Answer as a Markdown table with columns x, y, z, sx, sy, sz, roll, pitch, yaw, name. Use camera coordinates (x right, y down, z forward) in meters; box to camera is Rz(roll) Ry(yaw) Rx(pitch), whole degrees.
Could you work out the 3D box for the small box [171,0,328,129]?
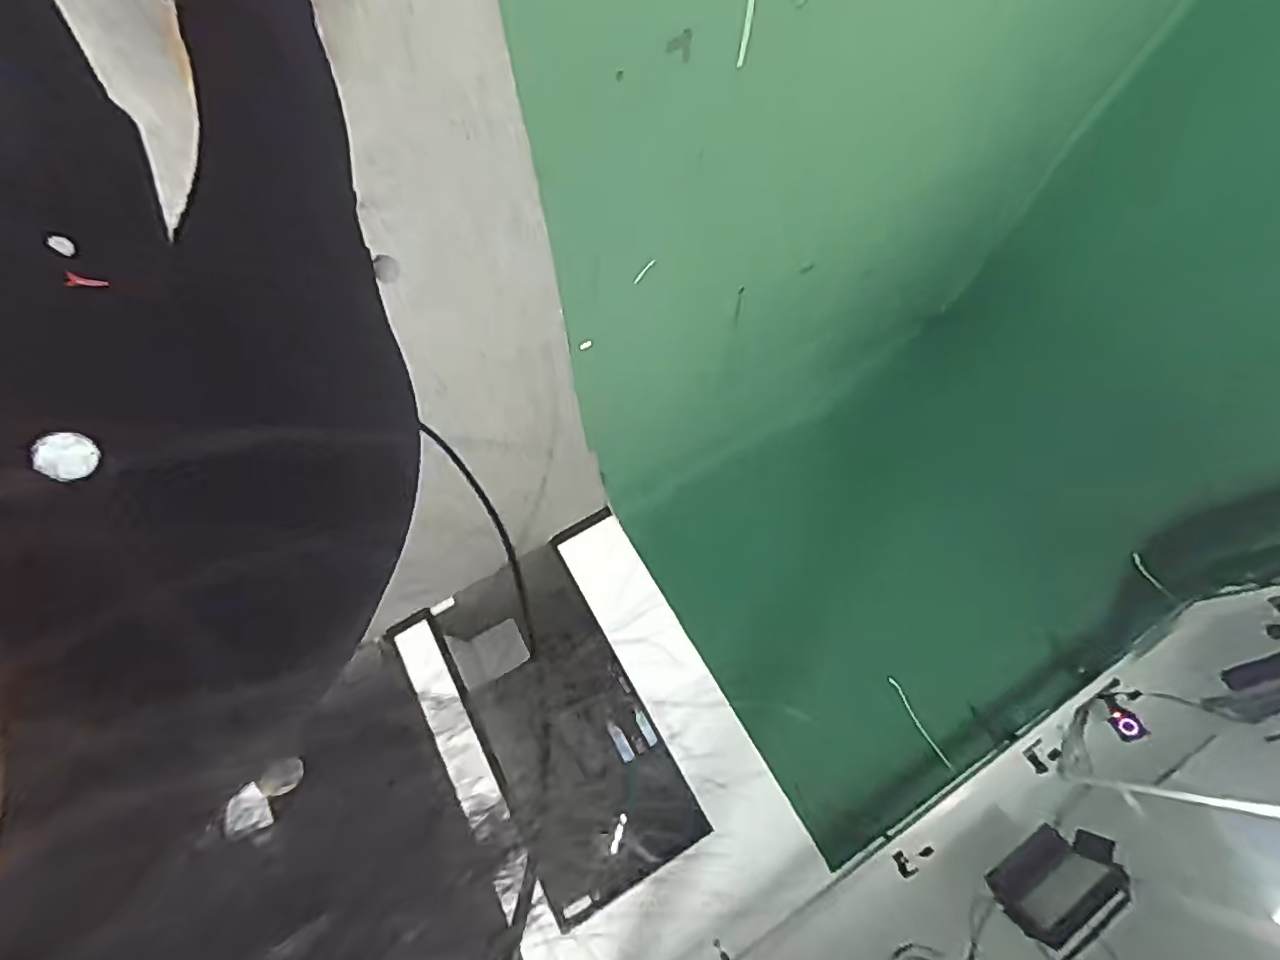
| x | y | z | sx | sy | sz | roll | pitch | yaw | name |
| --- | --- | --- | --- | --- | --- | --- | --- | --- | --- |
| -0.636 | -0.728 | 0.876 | 0.168 | 0.176 | 0.179 | -10 | 150 | -47 | small box |
